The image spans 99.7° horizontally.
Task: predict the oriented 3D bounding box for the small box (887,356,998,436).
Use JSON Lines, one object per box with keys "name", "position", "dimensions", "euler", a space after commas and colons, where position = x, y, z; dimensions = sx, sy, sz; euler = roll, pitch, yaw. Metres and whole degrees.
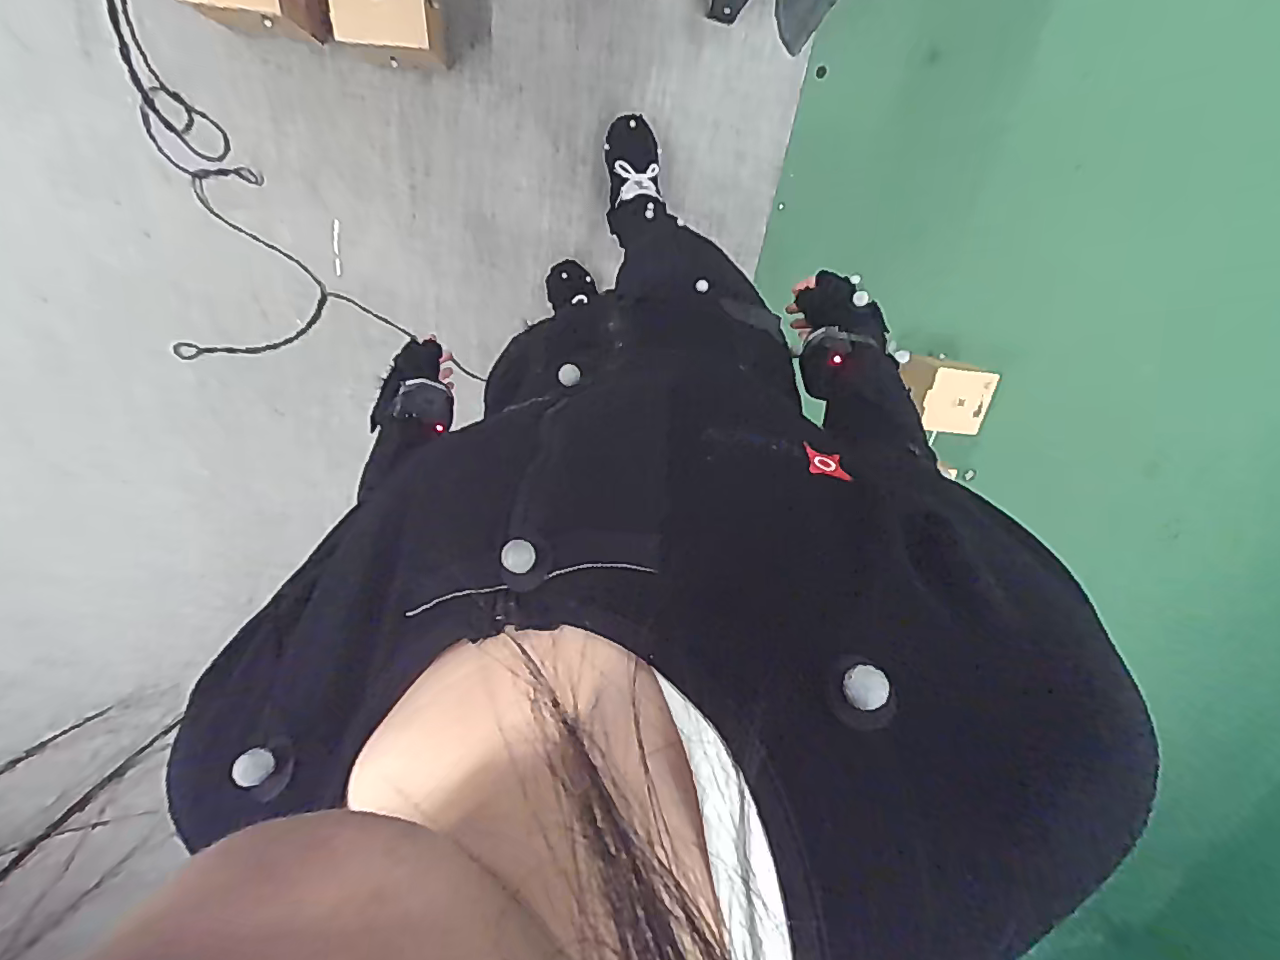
{"name": "small box", "position": [0.807, -0.232, 1.465], "dimensions": [0.179, 0.176, 0.168], "euler": [6, 114, -8]}
